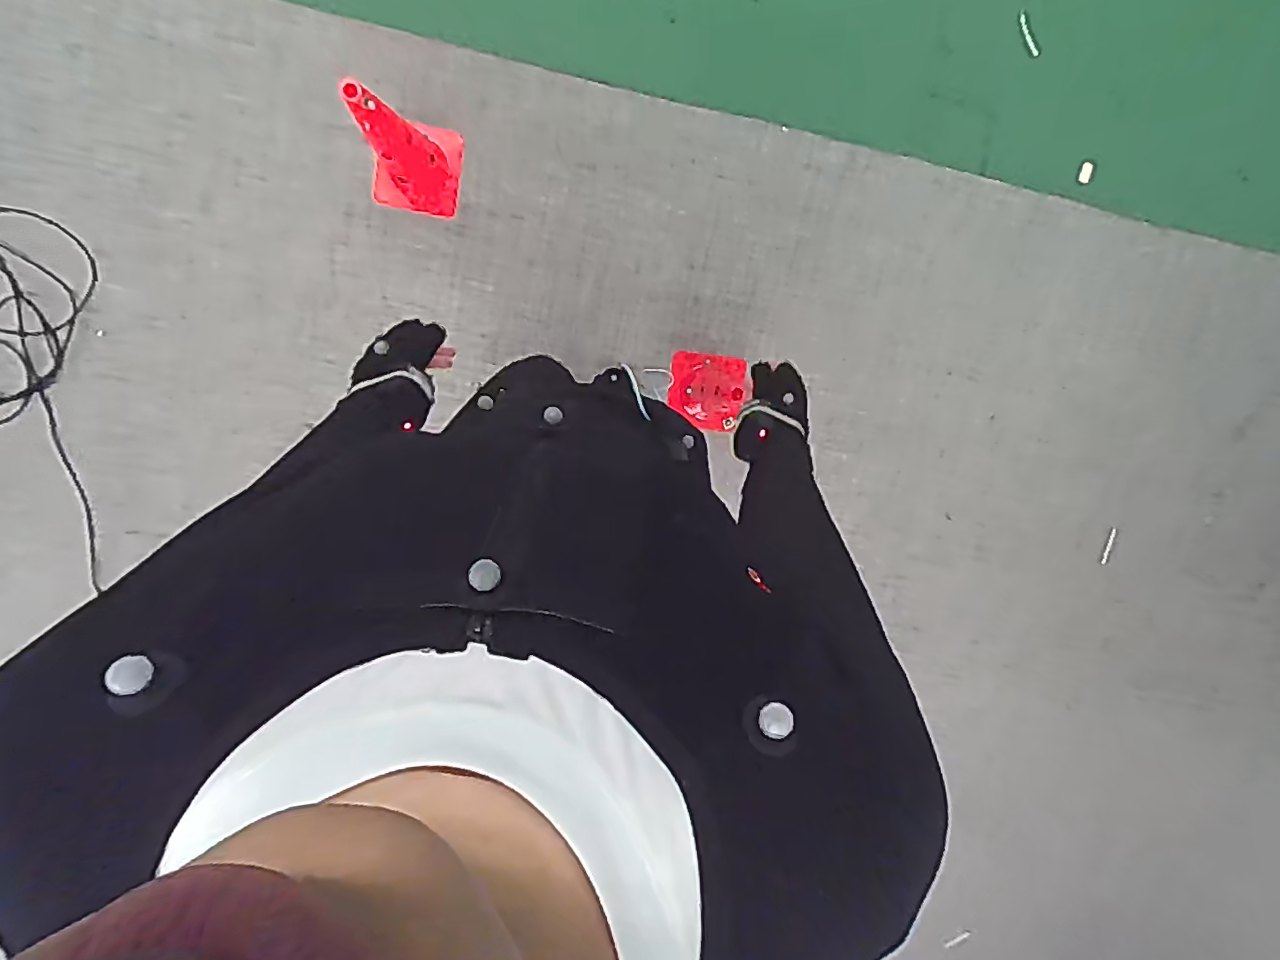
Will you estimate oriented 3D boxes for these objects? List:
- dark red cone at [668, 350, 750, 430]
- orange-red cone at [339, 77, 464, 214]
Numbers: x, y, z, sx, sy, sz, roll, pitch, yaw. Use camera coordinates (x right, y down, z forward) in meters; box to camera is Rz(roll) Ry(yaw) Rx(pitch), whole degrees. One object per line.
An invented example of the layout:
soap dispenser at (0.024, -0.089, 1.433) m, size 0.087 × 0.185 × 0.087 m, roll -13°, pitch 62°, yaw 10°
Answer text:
dark red cone at (0.188, -0.210, 1.253) m, size 0.202 × 0.394 × 0.201 m, roll 5°, pitch 99°, yaw -4°
orange-red cone at (-0.528, -0.733, 1.143) m, size 0.198 × 0.360 × 0.199 m, roll 11°, pitch 100°, yaw -4°
